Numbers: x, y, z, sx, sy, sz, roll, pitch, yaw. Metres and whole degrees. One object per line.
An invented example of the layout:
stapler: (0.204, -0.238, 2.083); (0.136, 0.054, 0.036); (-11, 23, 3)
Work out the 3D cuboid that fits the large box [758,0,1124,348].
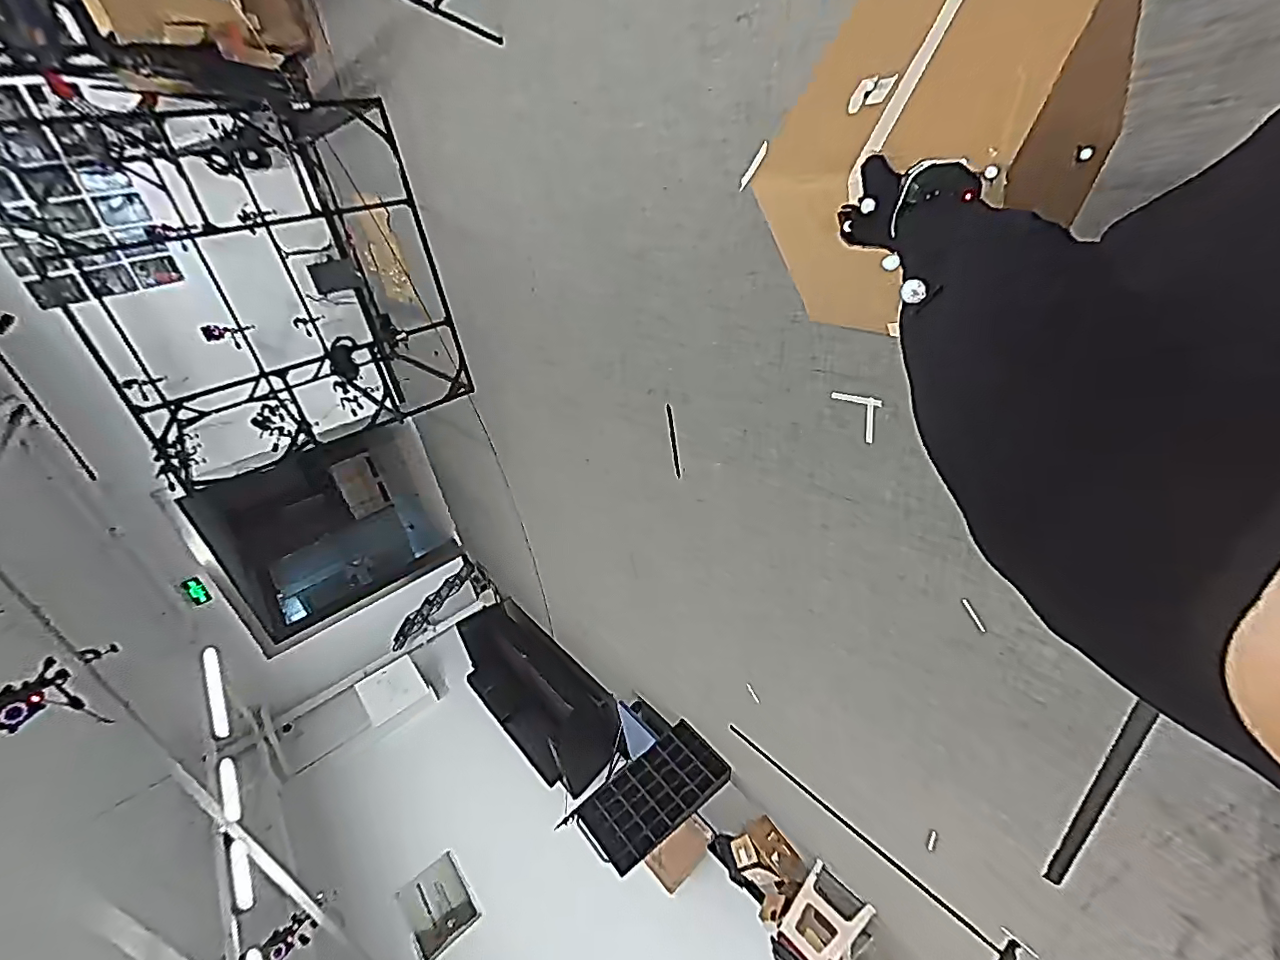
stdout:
large box: (0.444, -0.467, 0.797); (0.320, 0.408, 0.320); (25, 173, 42)
